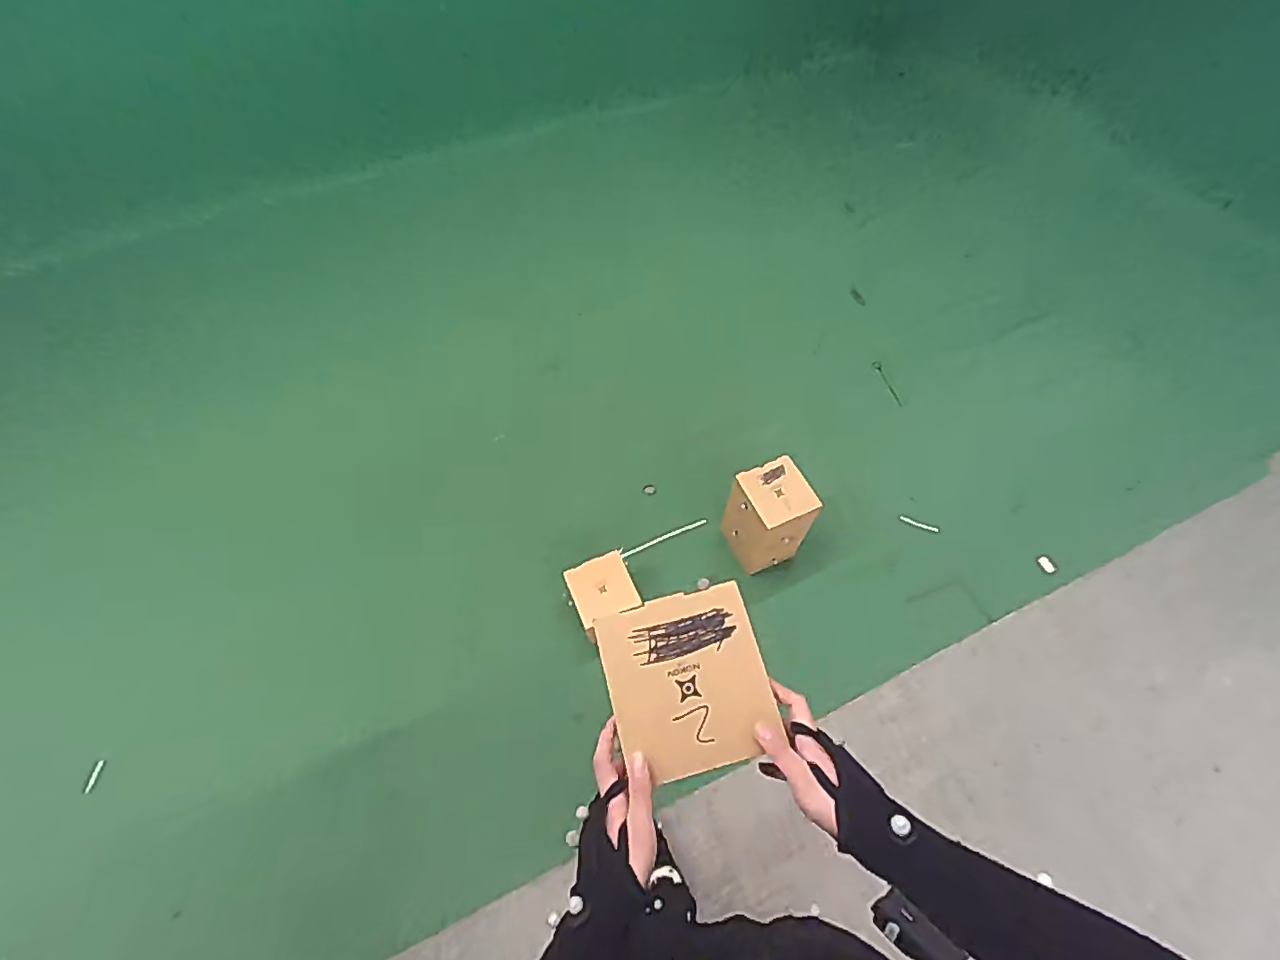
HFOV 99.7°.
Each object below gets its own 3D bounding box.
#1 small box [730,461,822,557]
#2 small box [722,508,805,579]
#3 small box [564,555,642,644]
[{"bbox_3d":[0.362,0.081,1.480,0.168,0.176,0.179,-21,61,-12],"label":"small box"},{"bbox_3d":[0.361,0.167,1.620,0.168,0.176,0.179,-21,61,-12],"label":"small box"},{"bbox_3d":[-0.099,0.344,1.520,0.168,0.176,0.179,-22,60,-12],"label":"small box"}]
